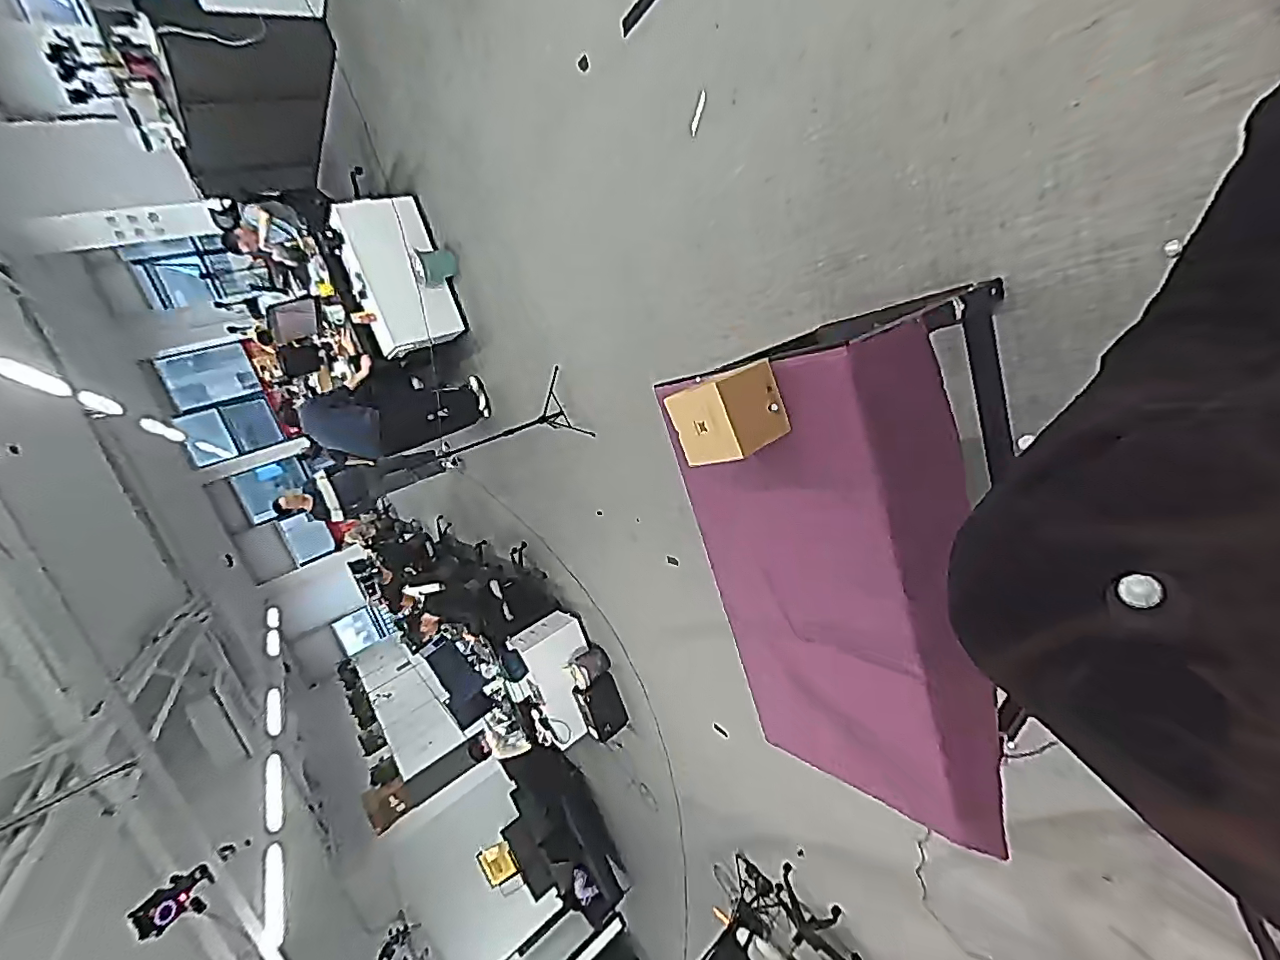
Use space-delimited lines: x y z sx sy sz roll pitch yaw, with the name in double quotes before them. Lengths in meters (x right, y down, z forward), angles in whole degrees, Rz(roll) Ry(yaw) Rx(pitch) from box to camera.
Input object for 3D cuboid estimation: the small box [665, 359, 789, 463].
"small box" 0.190 -0.148 1.184 0.179 0.176 0.168 -6 110 58
